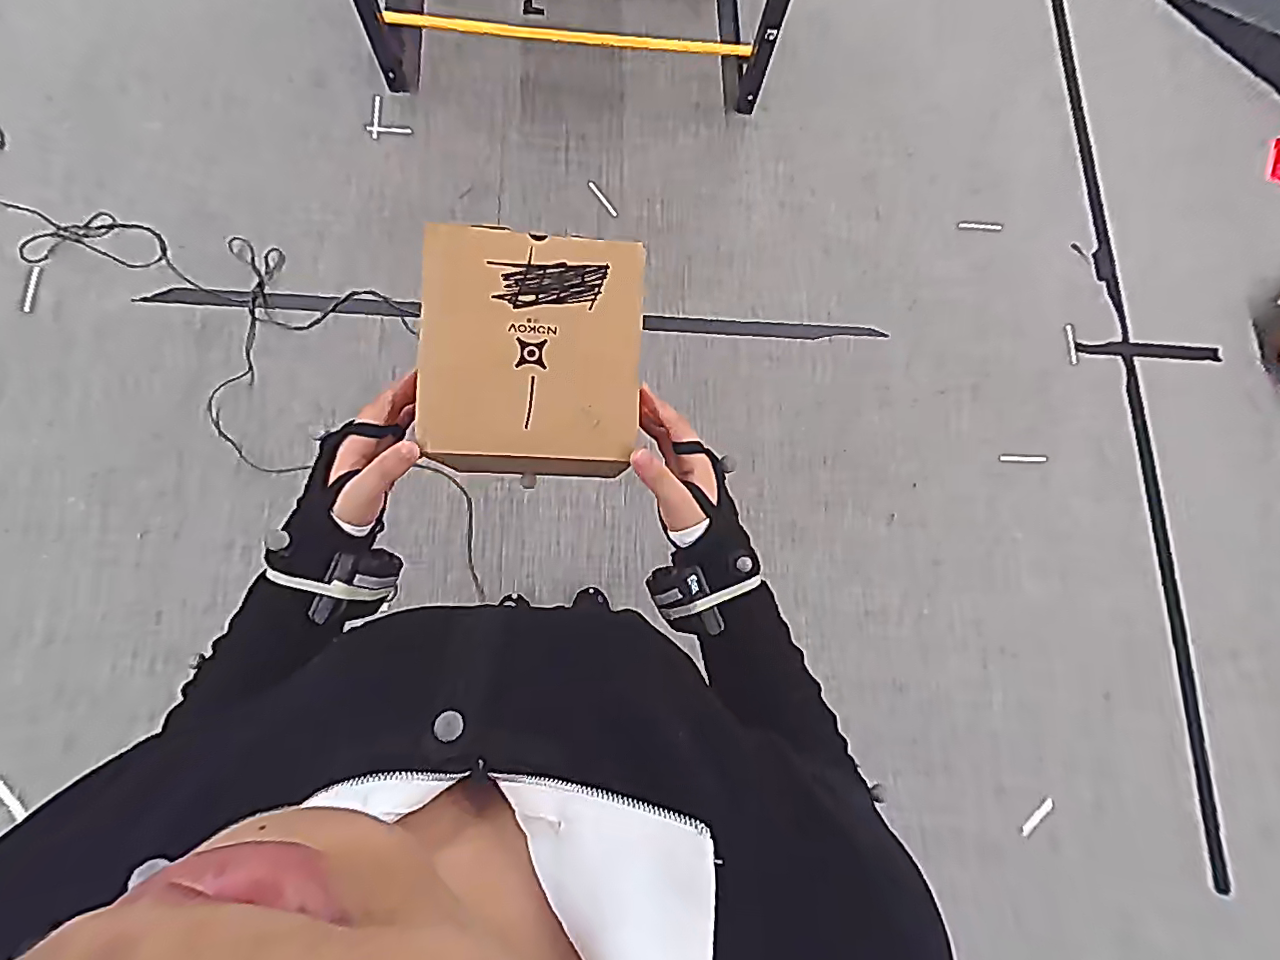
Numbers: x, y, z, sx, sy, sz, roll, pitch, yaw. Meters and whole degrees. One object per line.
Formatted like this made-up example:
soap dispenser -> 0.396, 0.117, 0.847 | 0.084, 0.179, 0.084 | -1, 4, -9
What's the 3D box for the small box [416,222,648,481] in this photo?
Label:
small box -> -0.088, -0.096, 0.485 | 0.168, 0.176, 0.179 | 2, 86, -7
